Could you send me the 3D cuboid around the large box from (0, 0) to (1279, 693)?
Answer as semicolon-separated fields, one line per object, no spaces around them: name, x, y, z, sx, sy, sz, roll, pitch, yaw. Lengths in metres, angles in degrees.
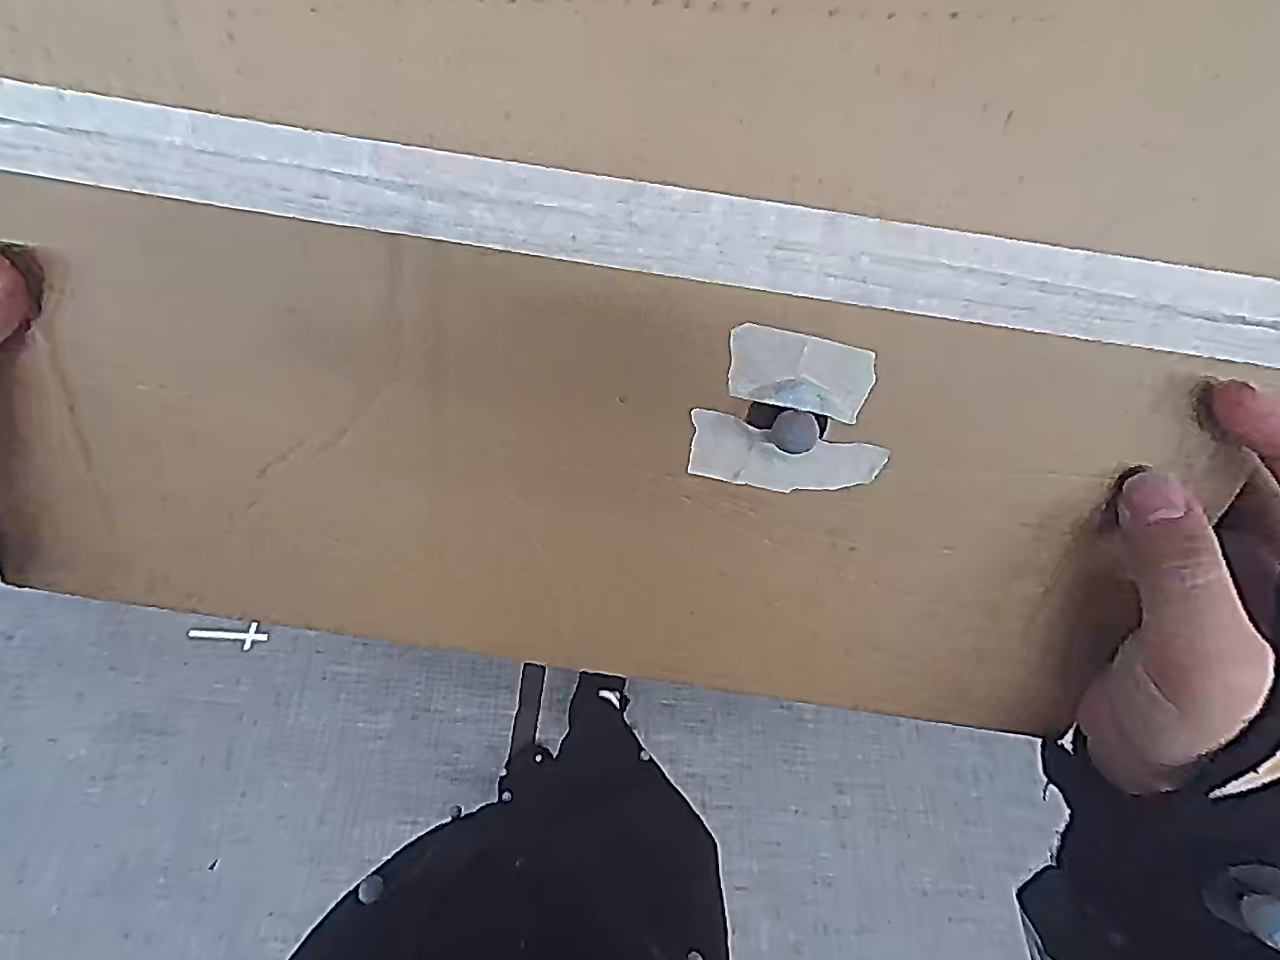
large box;-0.006;-0.133;0.294;0.408;0.320;0.320;8;24;-2
